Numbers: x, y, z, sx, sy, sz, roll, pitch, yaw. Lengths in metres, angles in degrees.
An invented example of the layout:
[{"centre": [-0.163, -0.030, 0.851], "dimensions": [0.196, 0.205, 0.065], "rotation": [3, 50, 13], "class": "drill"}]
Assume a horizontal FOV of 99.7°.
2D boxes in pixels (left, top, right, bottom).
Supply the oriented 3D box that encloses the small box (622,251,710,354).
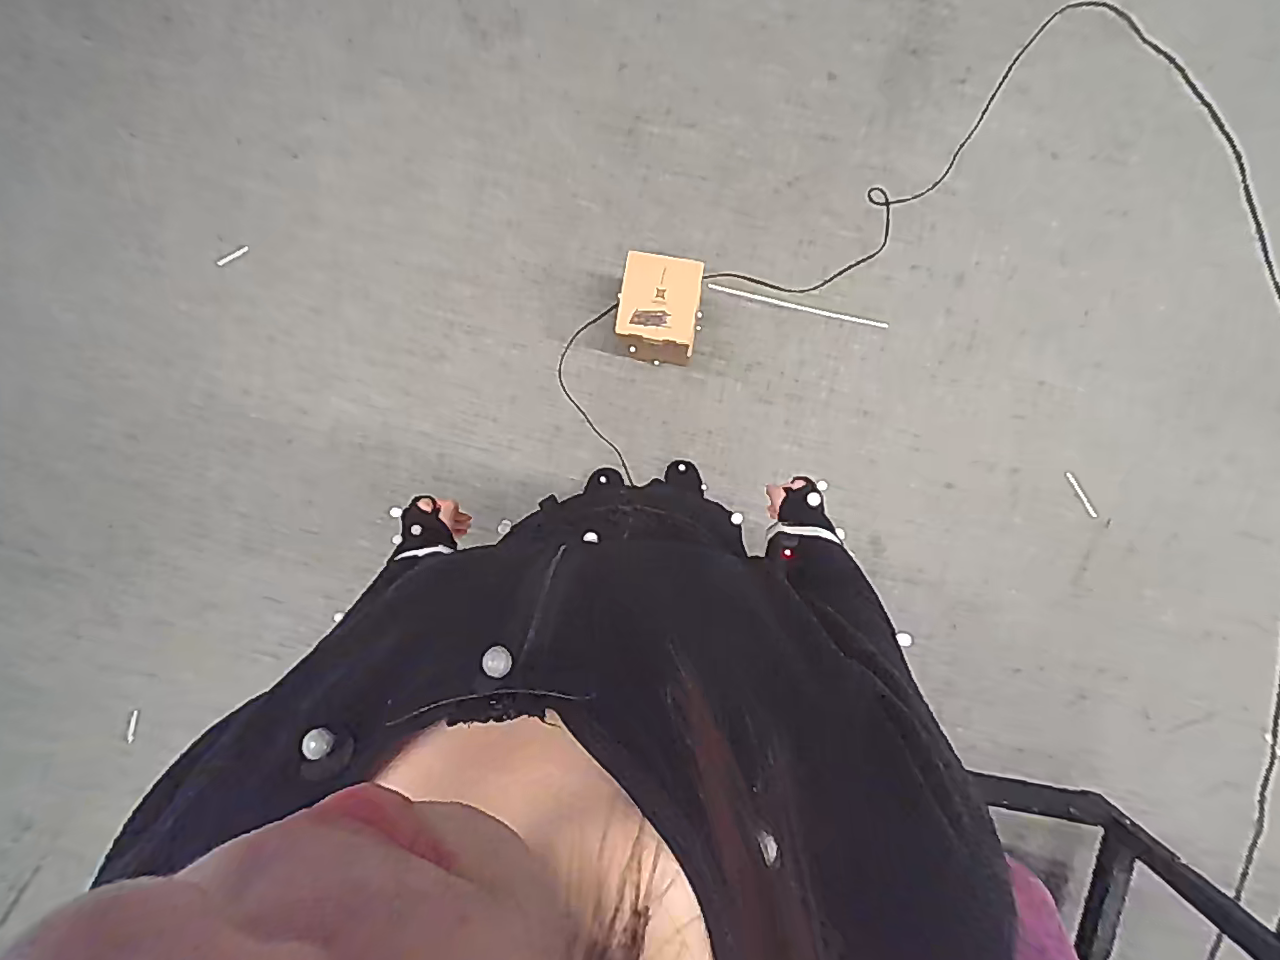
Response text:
[{"centre": [0.060, -0.394, 1.230], "dimensions": [0.168, 0.176, 0.179], "rotation": [10, 94, 3], "class": "small box"}]
